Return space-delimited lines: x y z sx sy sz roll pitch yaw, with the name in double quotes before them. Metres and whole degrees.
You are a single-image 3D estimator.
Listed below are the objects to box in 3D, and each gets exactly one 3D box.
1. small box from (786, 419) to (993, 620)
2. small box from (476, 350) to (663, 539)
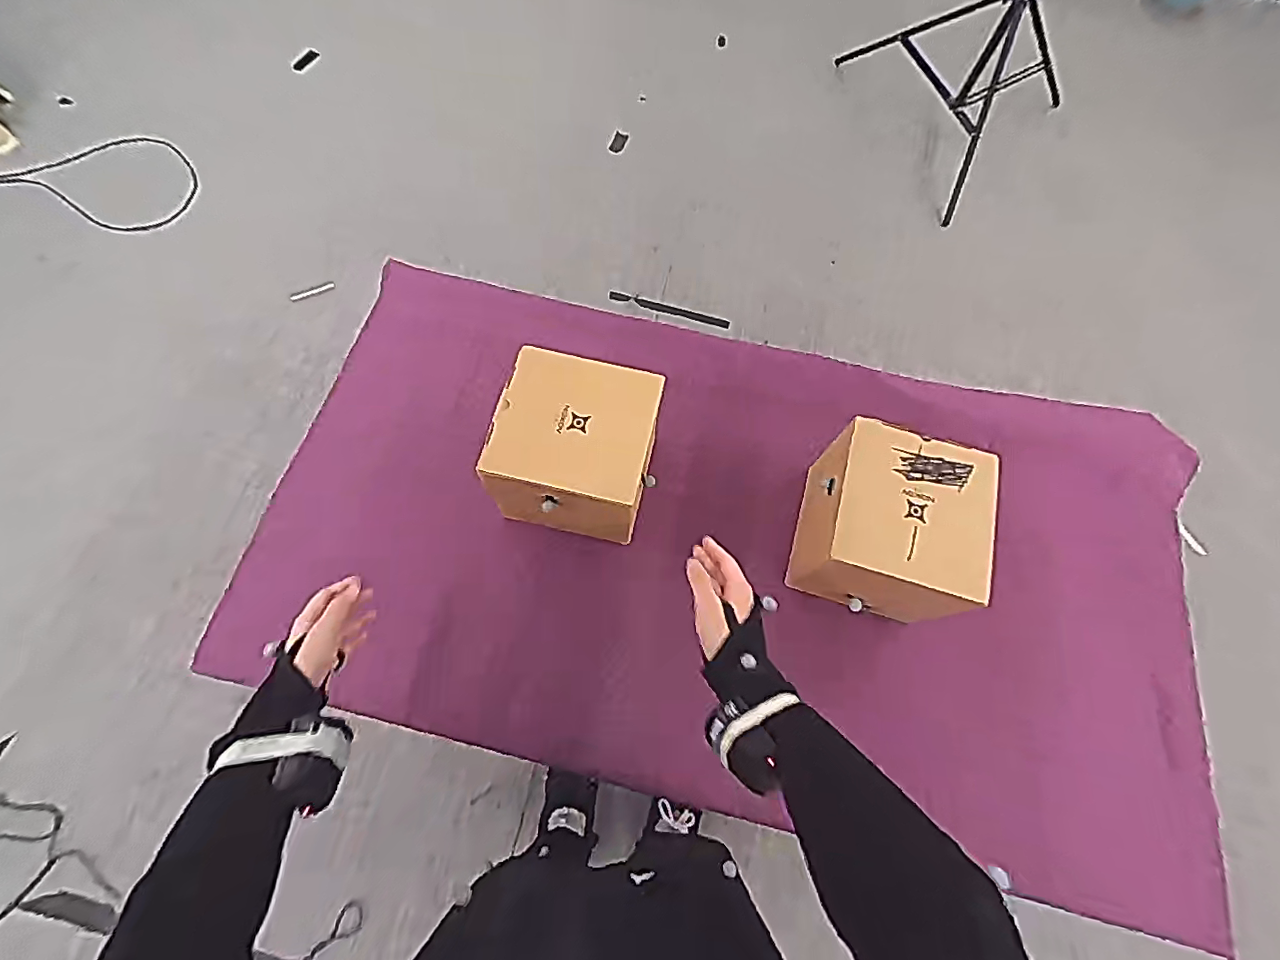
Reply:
"small box" 0.291 0.057 0.659 0.168 0.176 0.179 17 70 5
"small box" -0.078 -0.033 0.681 0.179 0.176 0.168 13 69 3
